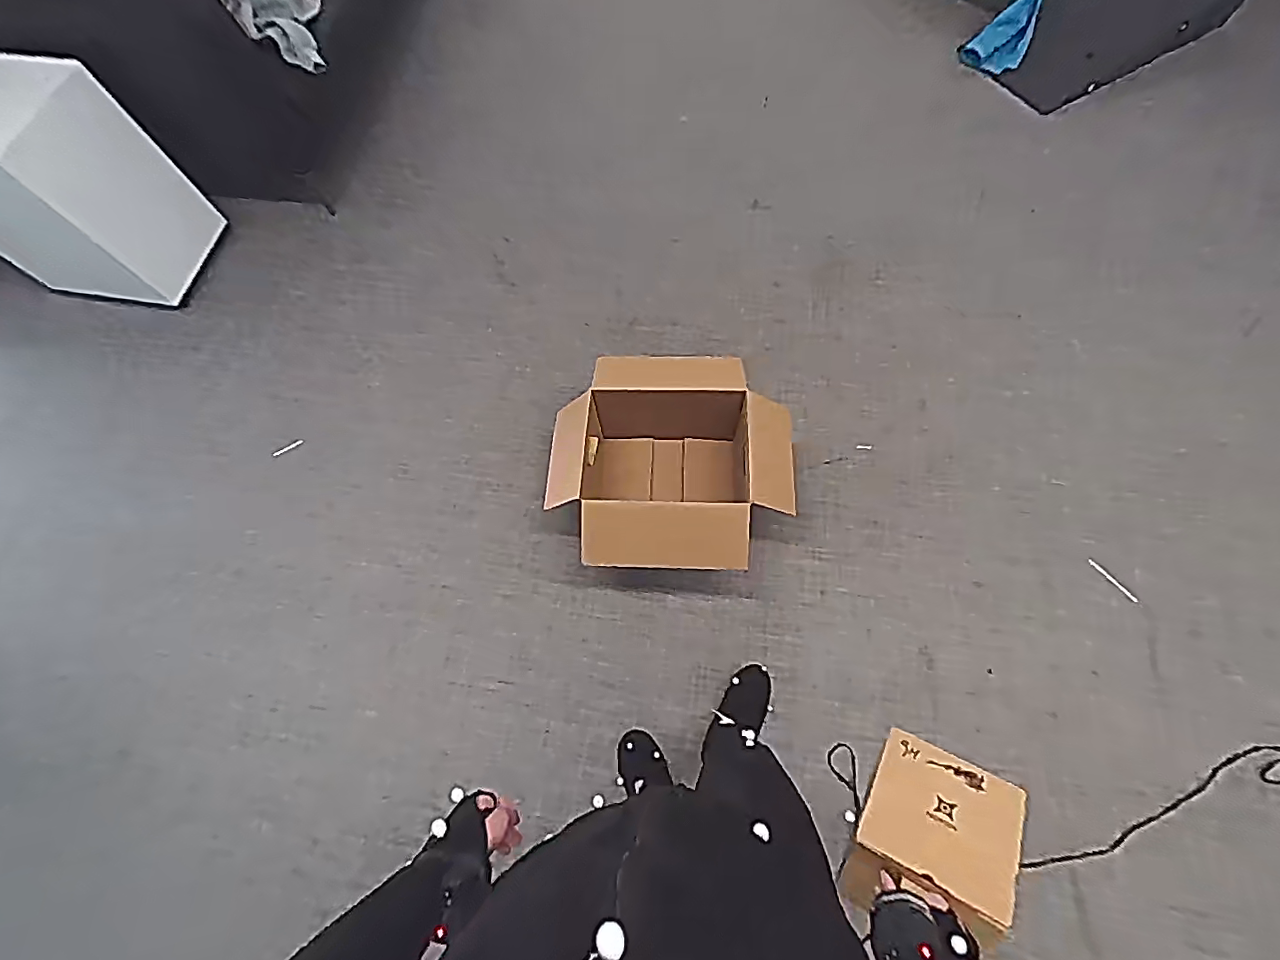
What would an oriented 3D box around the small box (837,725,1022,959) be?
[{"bbox_3d":[0.375,0.479,0.717,0.168,0.176,0.179,20,41,30],"label":"small box"}]
